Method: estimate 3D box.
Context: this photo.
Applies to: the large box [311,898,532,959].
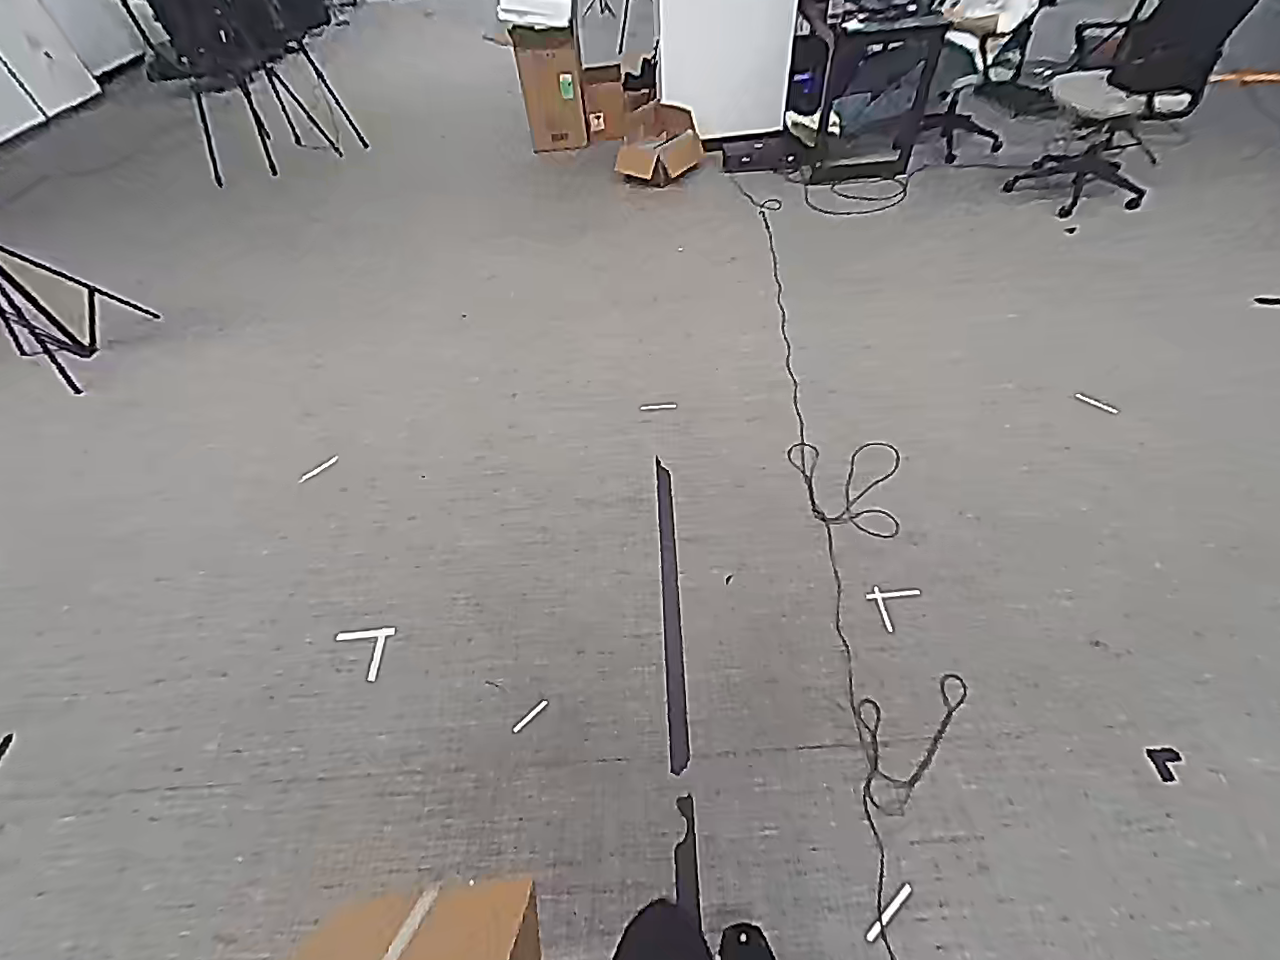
[{"bbox_3d":[-0.297,0.788,0.630,0.320,0.408,0.320,-8,79,-3],"label":"large box"}]
